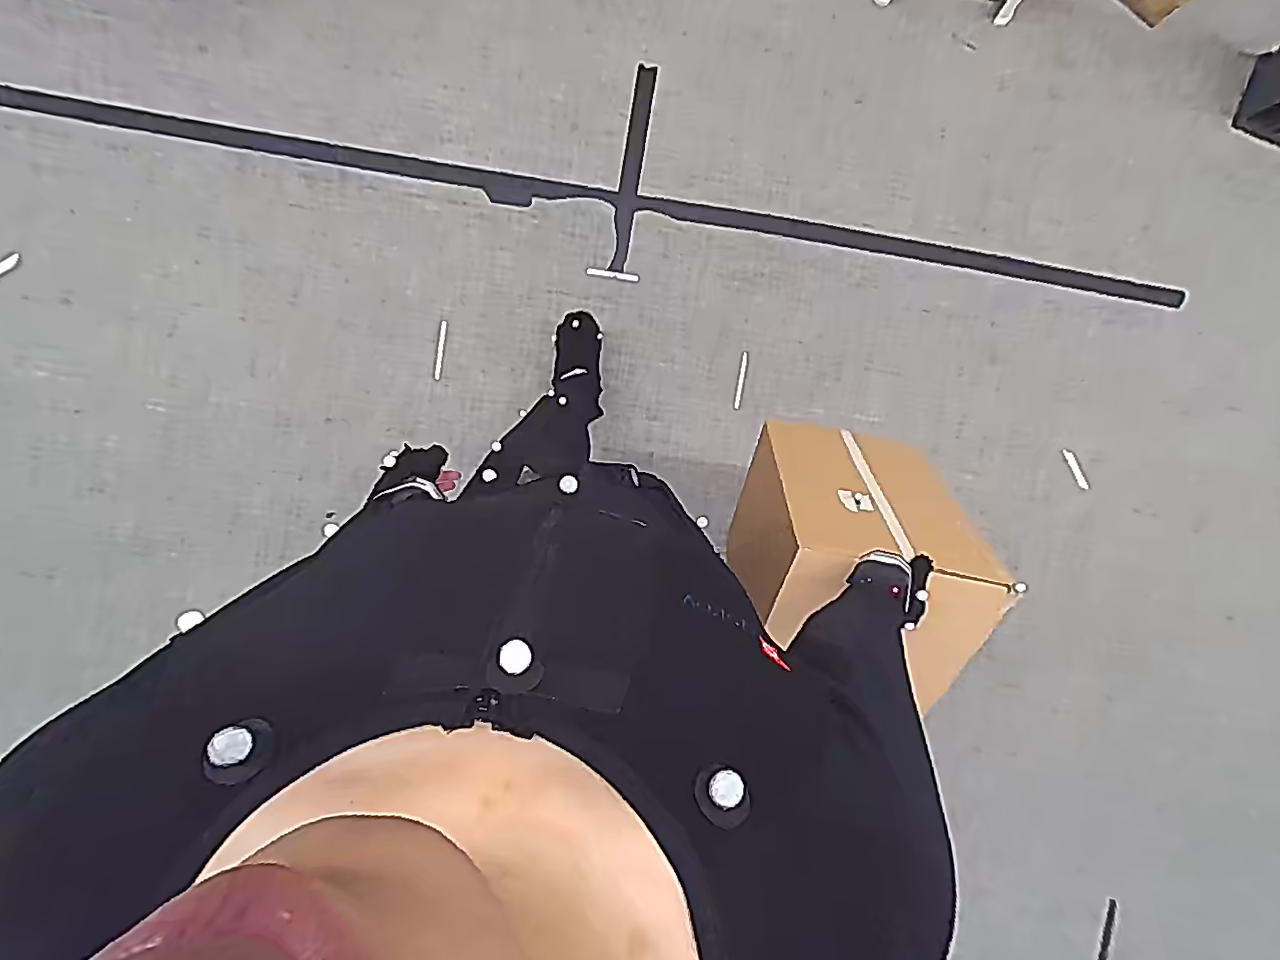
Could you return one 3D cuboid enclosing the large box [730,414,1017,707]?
[{"bbox_3d":[0.363,0.130,0.989,0.320,0.408,0.320,10,125,-1],"label":"large box"}]
